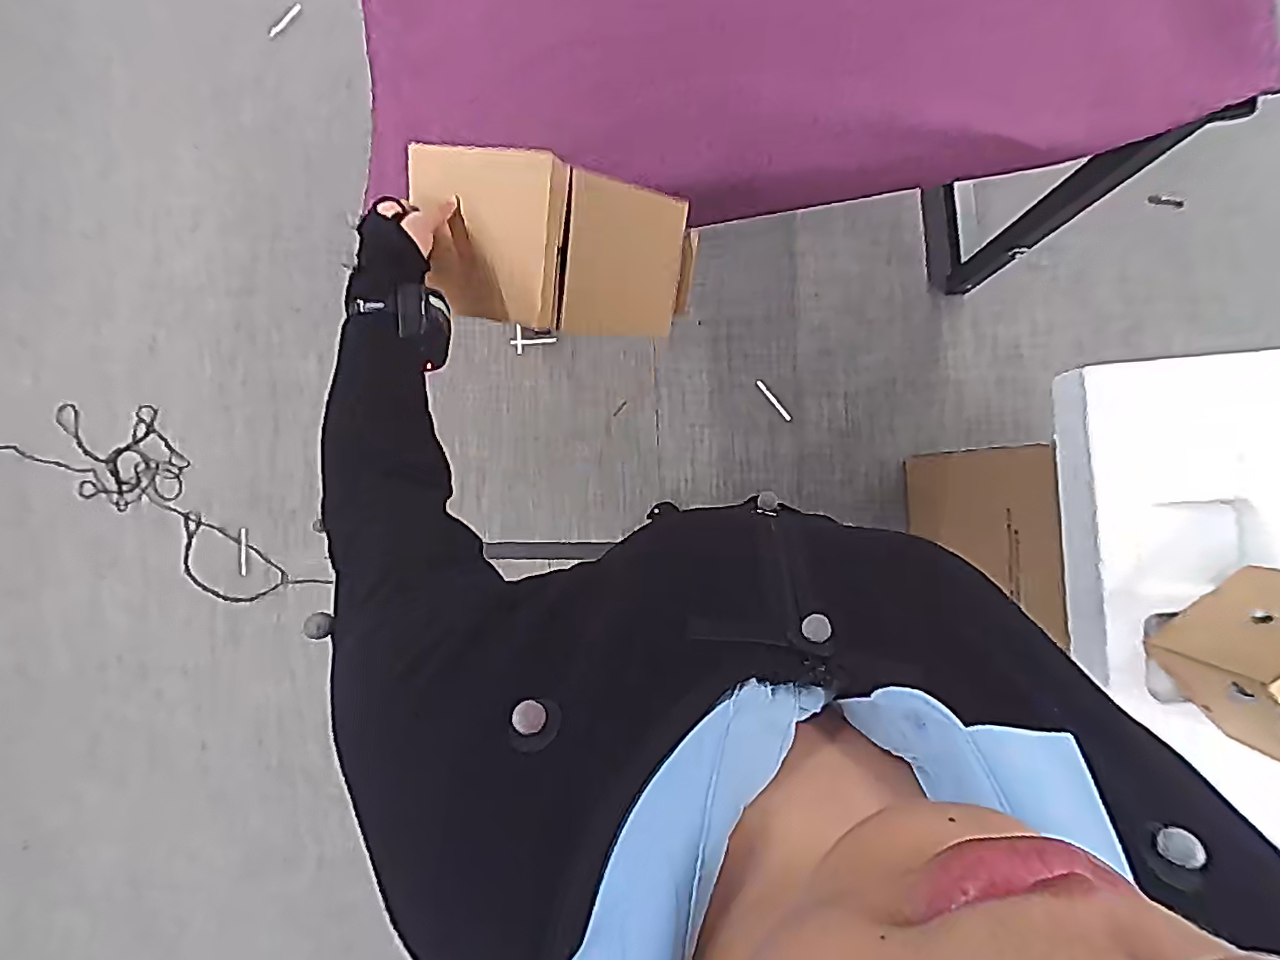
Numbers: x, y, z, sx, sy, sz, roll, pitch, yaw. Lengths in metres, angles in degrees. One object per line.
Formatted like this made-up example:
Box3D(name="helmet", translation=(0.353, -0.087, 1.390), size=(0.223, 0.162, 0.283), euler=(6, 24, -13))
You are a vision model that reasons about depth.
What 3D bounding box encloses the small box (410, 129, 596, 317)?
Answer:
Box3D(name="small box", translation=(-0.154, -0.296, 0.651), size=(0.179, 0.176, 0.168), euler=(8, 109, 2))
